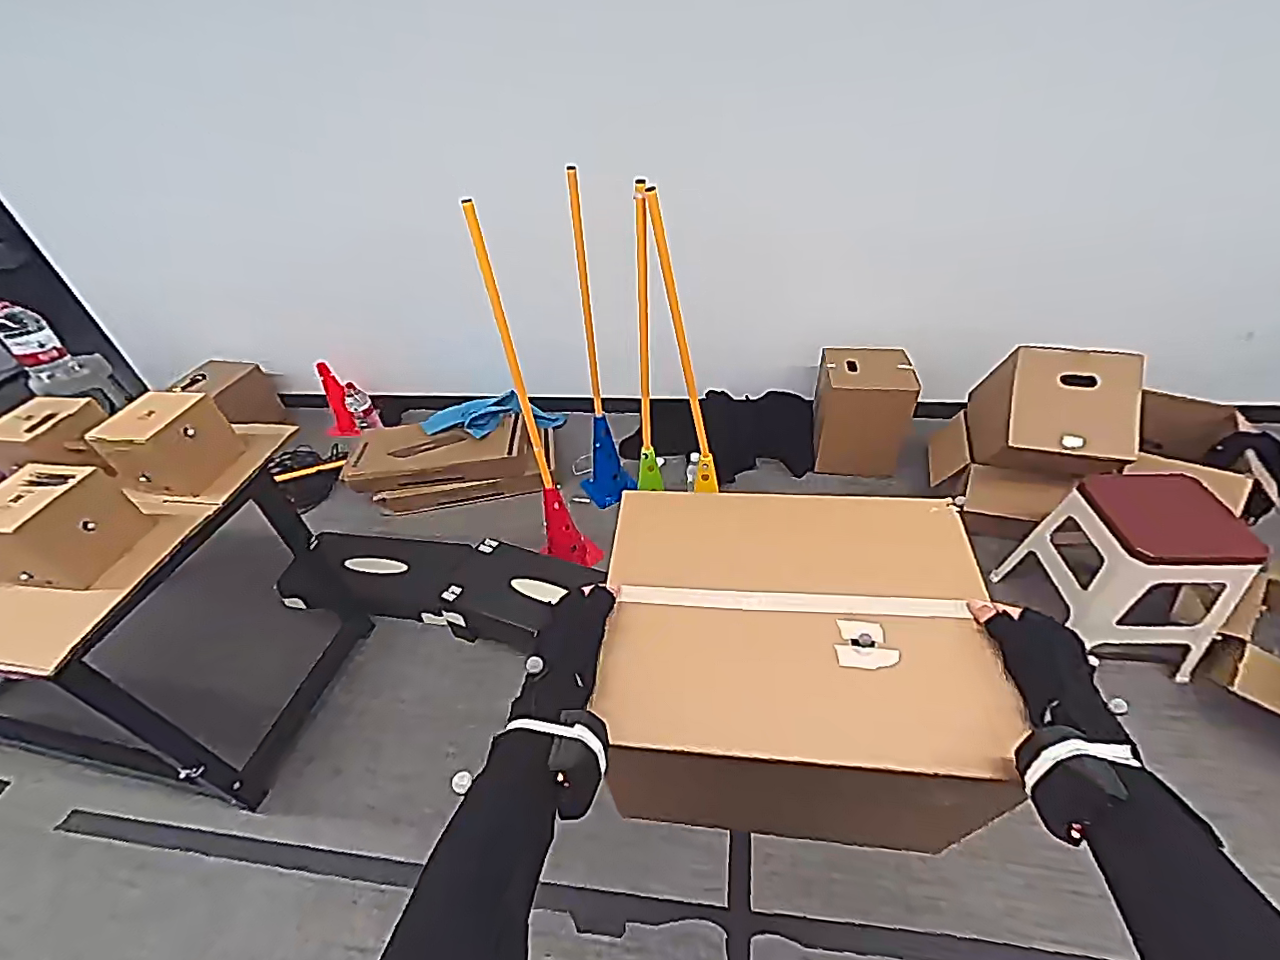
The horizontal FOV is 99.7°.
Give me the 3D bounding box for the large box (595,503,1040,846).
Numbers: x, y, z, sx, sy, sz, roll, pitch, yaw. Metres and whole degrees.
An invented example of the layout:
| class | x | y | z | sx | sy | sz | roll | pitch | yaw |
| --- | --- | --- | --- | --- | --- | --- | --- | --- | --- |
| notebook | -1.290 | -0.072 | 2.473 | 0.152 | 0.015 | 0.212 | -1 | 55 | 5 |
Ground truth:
| class | x | y | z | sx | sy | sz | roll | pitch | yaw |
| --- | --- | --- | --- | --- | --- | --- | --- | --- | --- |
| large box | 0.176 | 0.246 | 0.697 | 0.408 | 0.320 | 0.320 | 1 | 47 | 8 |
